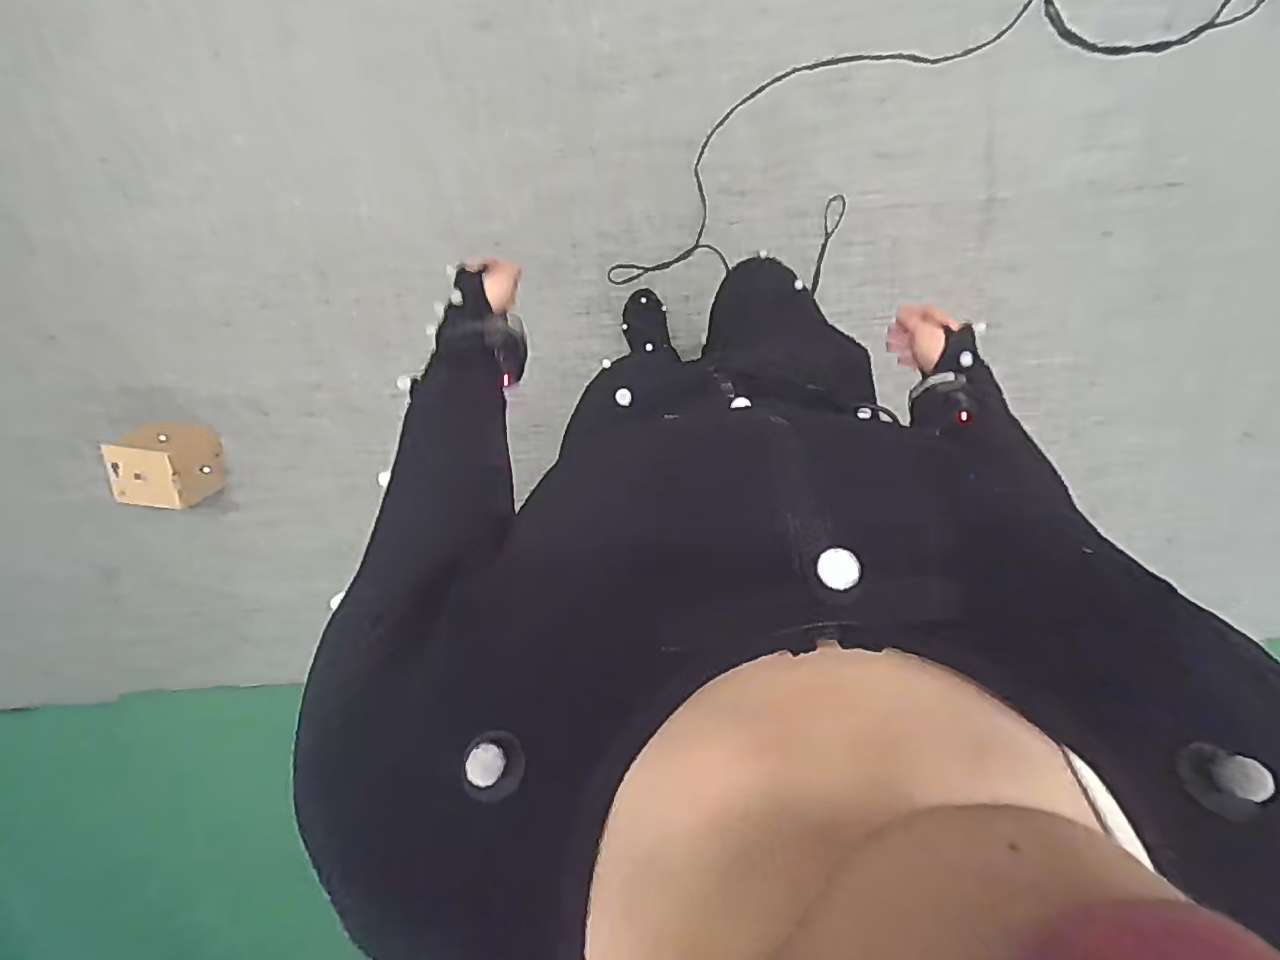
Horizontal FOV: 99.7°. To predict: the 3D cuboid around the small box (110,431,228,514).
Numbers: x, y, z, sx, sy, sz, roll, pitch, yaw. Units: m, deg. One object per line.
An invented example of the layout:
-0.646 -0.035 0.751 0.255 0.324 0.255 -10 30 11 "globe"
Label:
-1.270 -0.026 1.478 0.179 0.176 0.168 8 112 -2 "small box"
